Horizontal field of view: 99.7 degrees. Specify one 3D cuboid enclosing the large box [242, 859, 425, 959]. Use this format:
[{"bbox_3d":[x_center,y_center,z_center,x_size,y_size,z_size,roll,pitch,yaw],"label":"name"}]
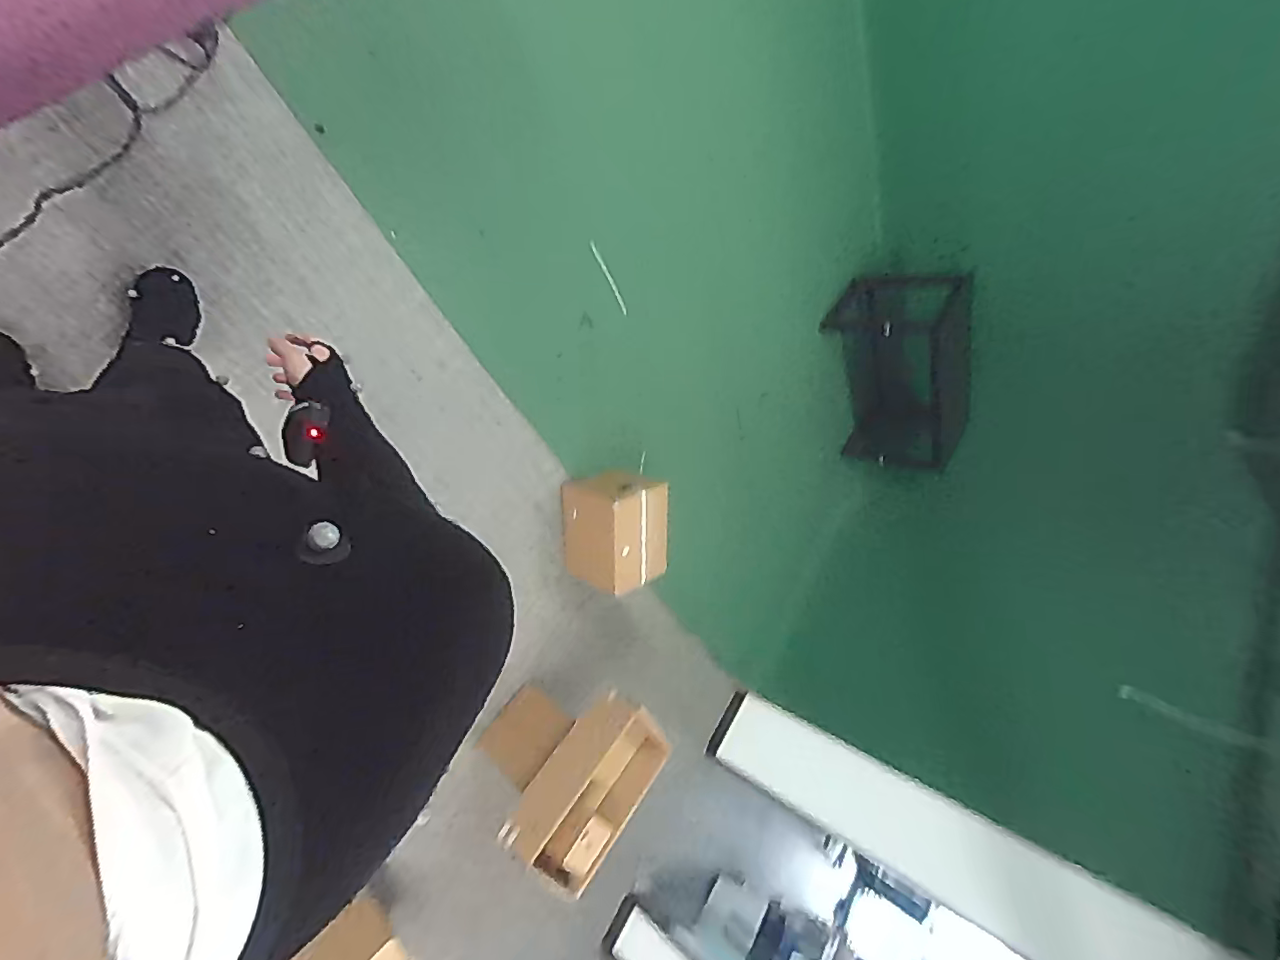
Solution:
[{"bbox_3d":[-0.998,1.578,1.759,0.408,0.320,0.320,-34,127,-38],"label":"large box"}]
